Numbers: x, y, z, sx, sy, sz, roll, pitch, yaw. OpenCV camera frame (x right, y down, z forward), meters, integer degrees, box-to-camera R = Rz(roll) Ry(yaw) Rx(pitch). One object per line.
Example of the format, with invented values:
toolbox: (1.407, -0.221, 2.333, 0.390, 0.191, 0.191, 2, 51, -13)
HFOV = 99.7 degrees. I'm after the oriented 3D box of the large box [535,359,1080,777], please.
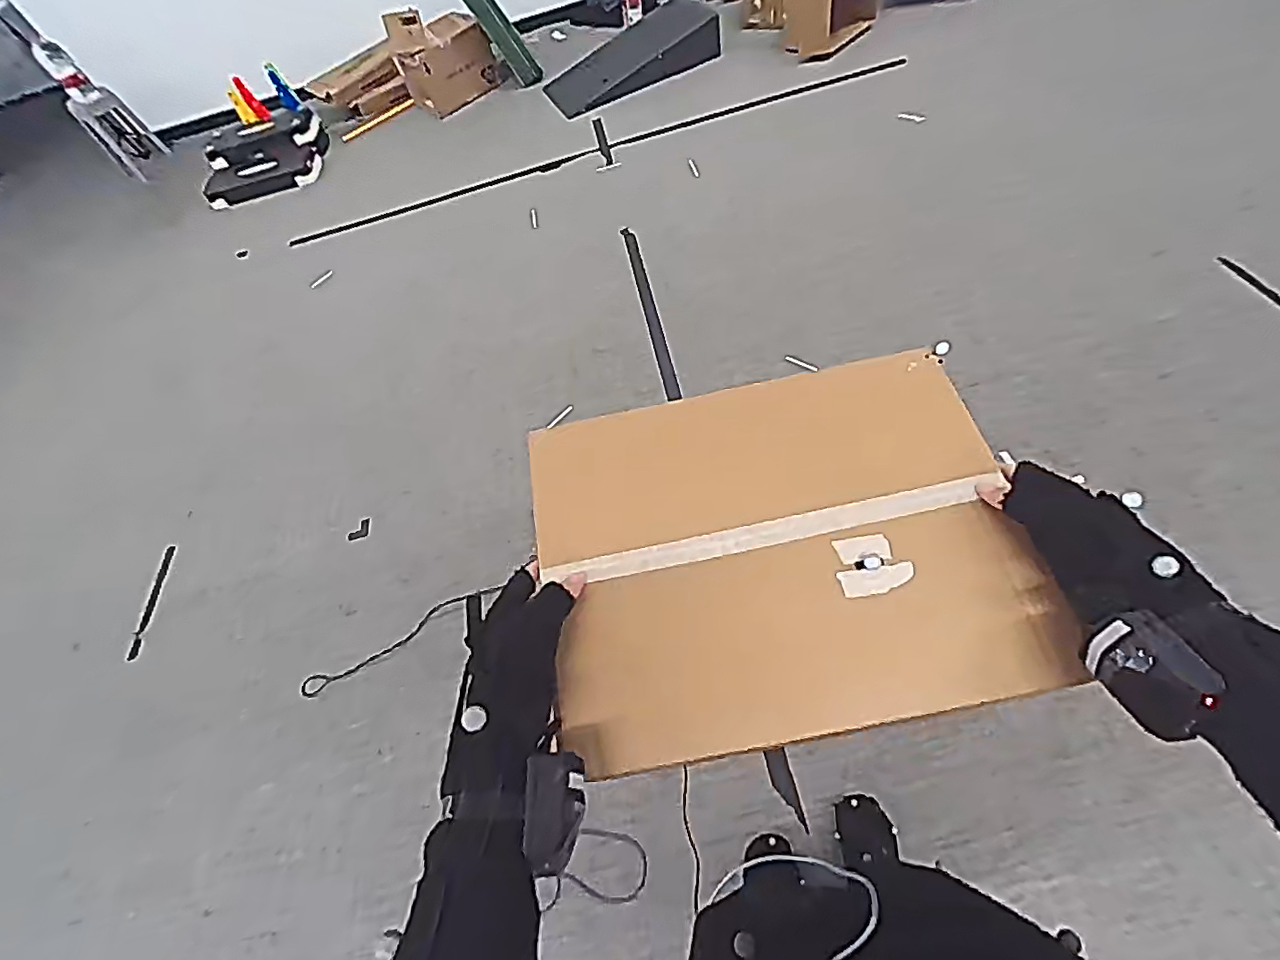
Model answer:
large box: (0.129, 0.119, 0.609, 0.408, 0.320, 0.320, -12, 62, 0)
